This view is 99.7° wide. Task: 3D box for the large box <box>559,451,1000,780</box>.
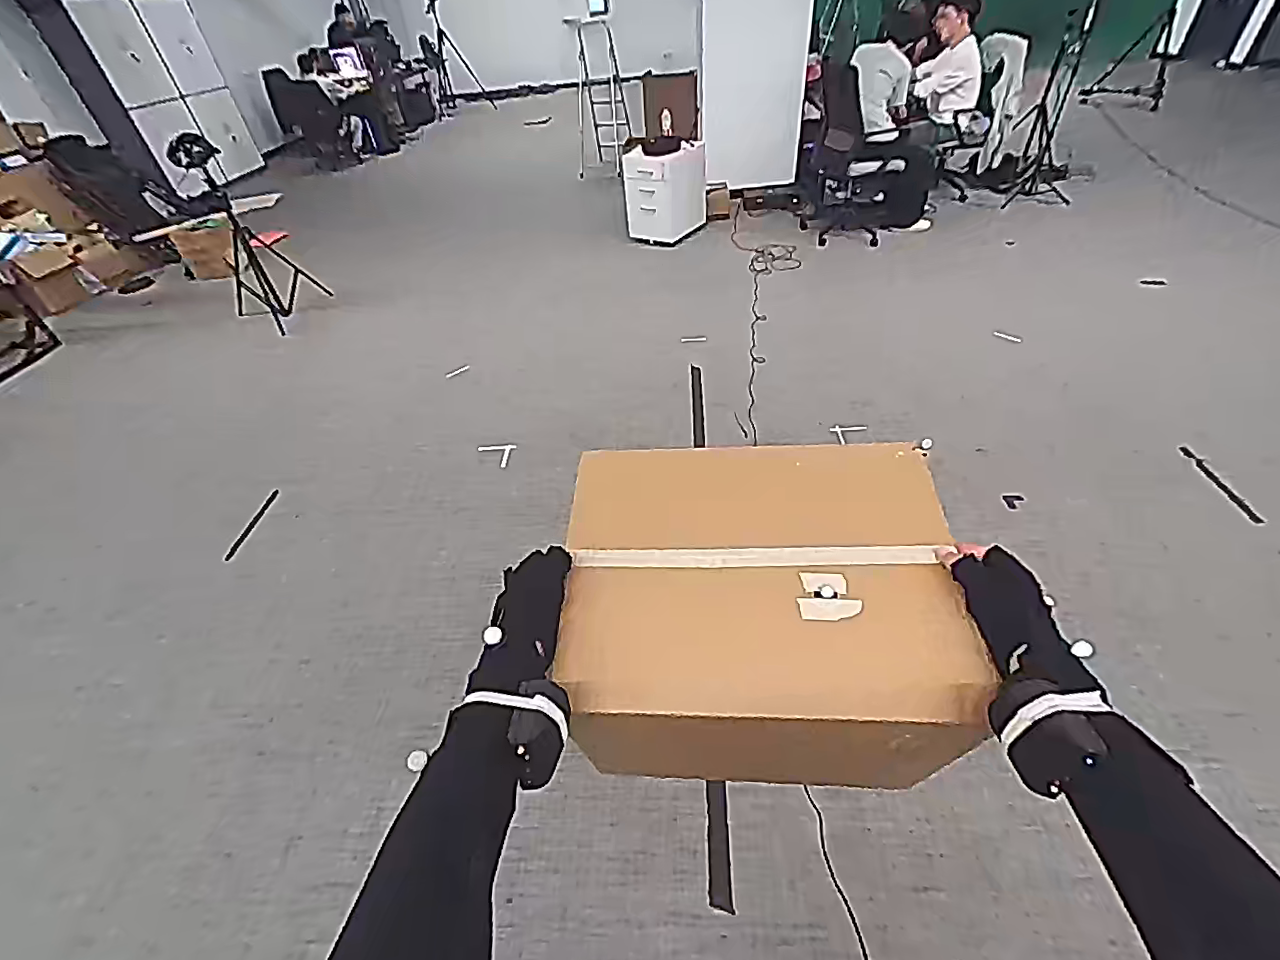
[{"bbox_3d":[0.138,0.183,0.694,0.408,0.320,0.320,-1,52,6],"label":"large box"}]
